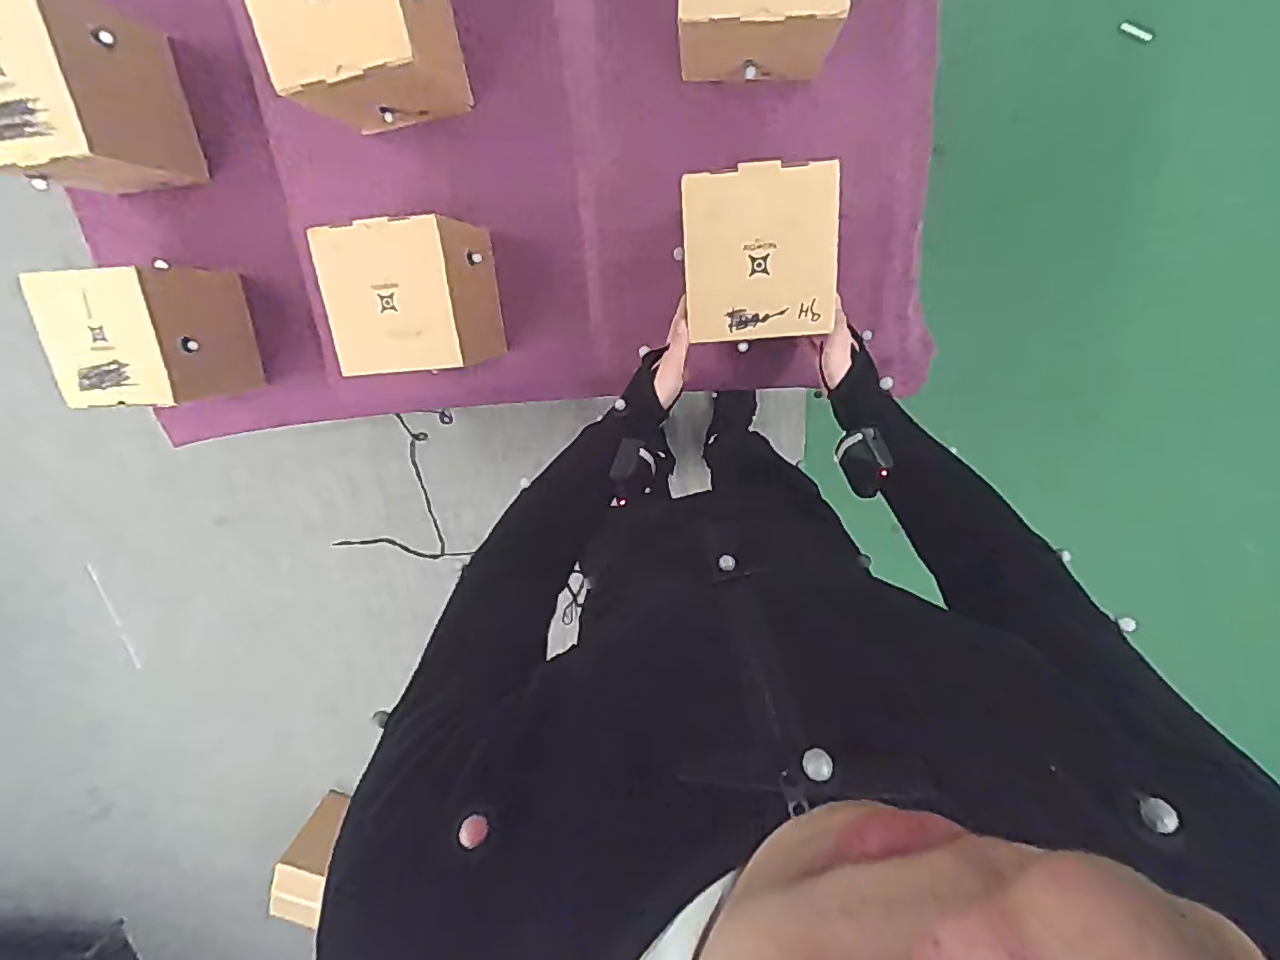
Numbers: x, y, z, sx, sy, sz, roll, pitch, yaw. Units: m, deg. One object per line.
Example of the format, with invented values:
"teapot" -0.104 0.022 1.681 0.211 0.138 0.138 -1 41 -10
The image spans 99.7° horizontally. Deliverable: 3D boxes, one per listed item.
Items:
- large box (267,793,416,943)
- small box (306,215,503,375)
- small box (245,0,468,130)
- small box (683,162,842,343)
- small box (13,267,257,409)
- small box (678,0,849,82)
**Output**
"large box" -1.174 1.528 2.149 0.408 0.320 0.320 19 111 -3
"small box" -0.297 -0.242 0.724 0.168 0.176 0.179 -2 109 7
"small box" -0.322 -0.536 0.621 0.168 0.176 0.179 -8 110 7
"small box" 0.137 -0.263 0.661 0.168 0.176 0.179 -3 107 6
"small box" -0.693 -0.204 0.770 0.168 0.176 0.179 -1 108 5
"small box" 0.127 -0.554 0.571 0.168 0.176 0.179 3 111 5
